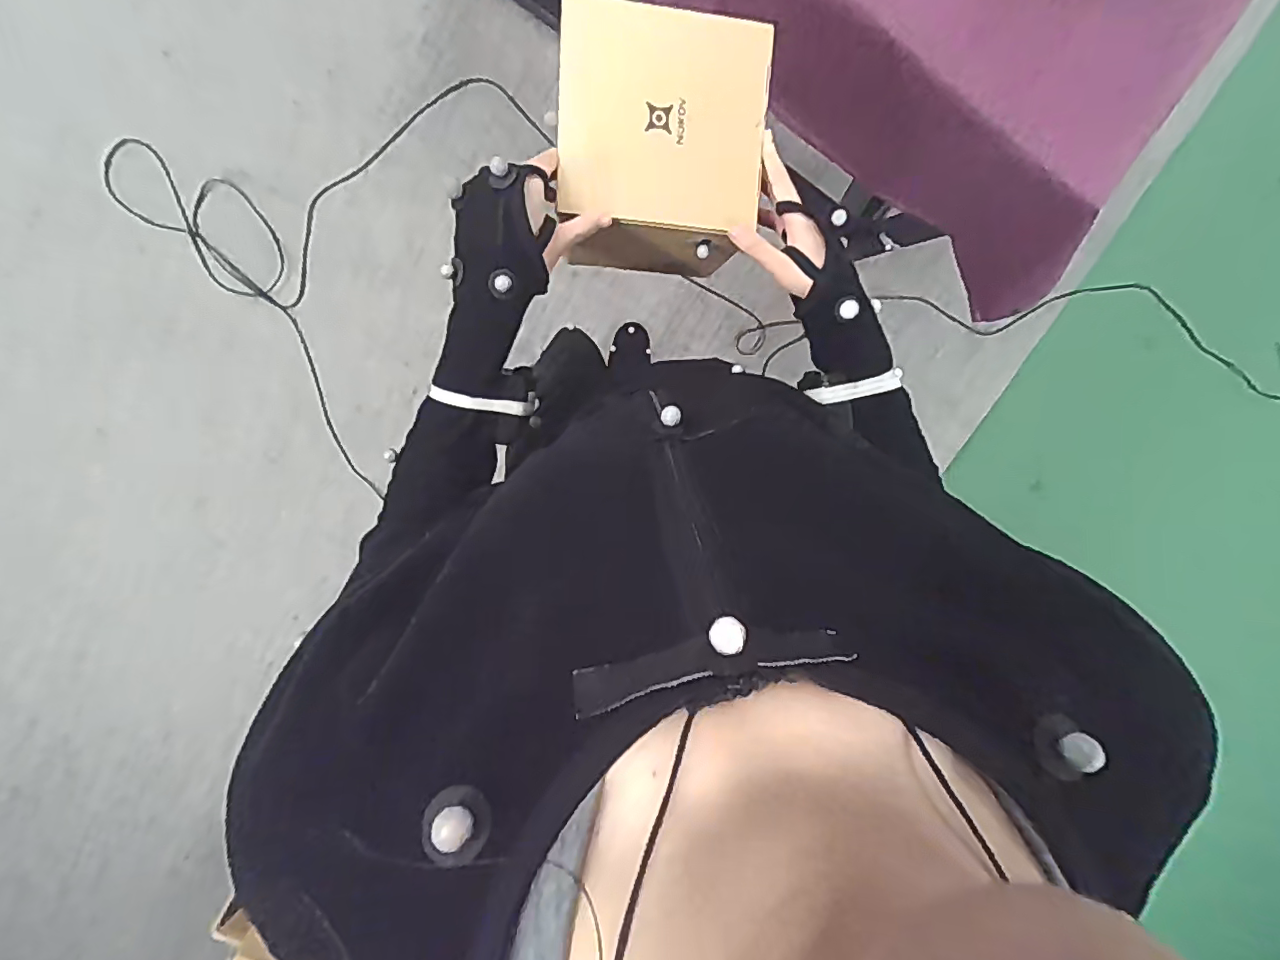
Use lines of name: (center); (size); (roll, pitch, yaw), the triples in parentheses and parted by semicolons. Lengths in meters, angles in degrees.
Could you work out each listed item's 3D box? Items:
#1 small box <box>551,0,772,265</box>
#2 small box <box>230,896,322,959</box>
small box: (0.009, -0.318, 0.521); (0.179, 0.176, 0.168); (2, 97, -8)
small box: (-0.996, 1.277, 1.453); (0.168, 0.176, 0.179); (32, 100, -12)
